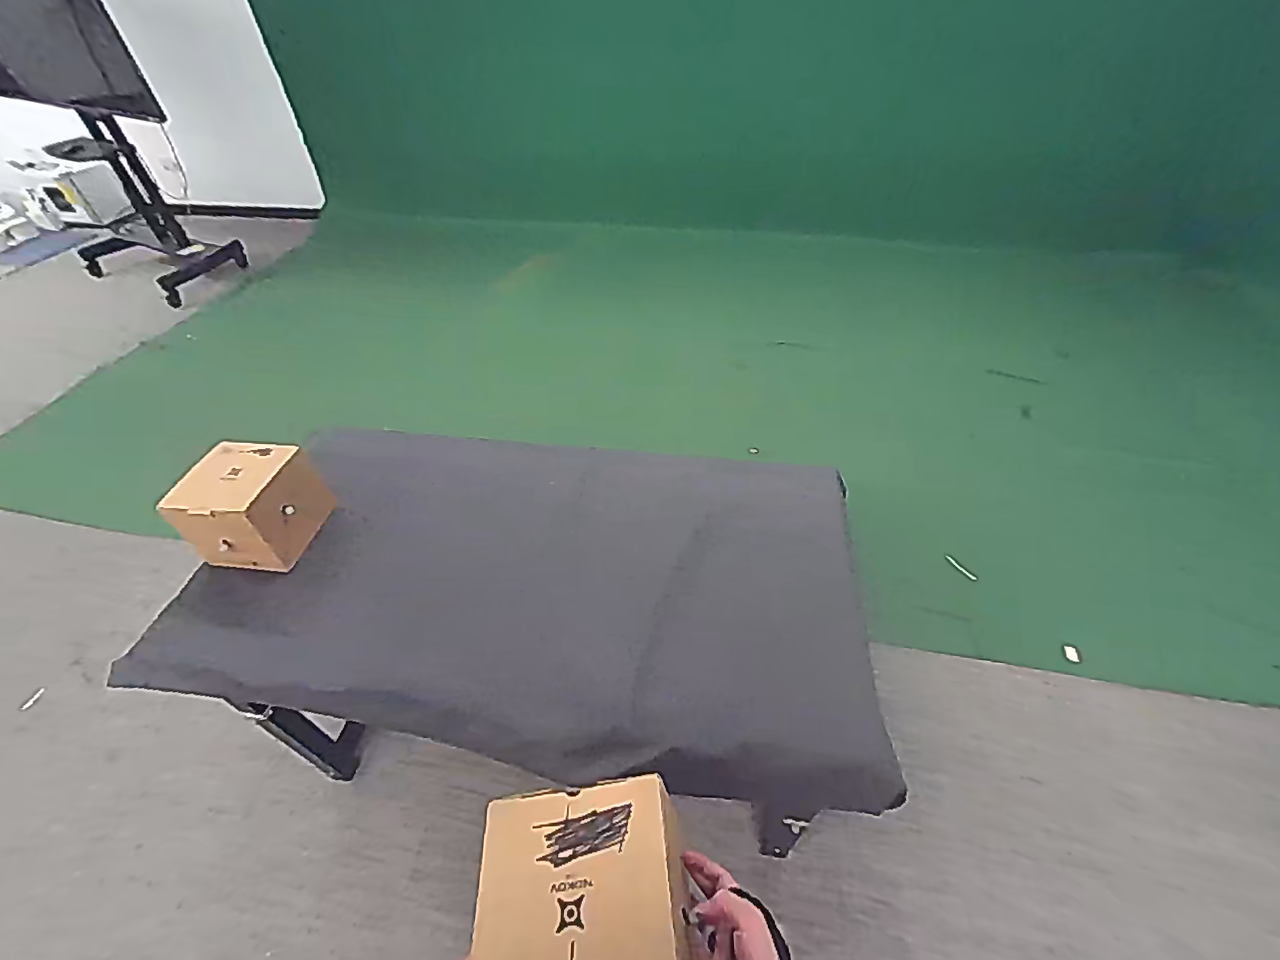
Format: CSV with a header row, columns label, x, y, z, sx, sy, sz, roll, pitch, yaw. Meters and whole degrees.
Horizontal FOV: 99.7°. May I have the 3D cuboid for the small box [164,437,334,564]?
label,x,y,z,sx,sy,sz,roll,pitch,yaw
small box,-0.725,0.042,1.033,0.168,0.176,0.179,5,46,5
